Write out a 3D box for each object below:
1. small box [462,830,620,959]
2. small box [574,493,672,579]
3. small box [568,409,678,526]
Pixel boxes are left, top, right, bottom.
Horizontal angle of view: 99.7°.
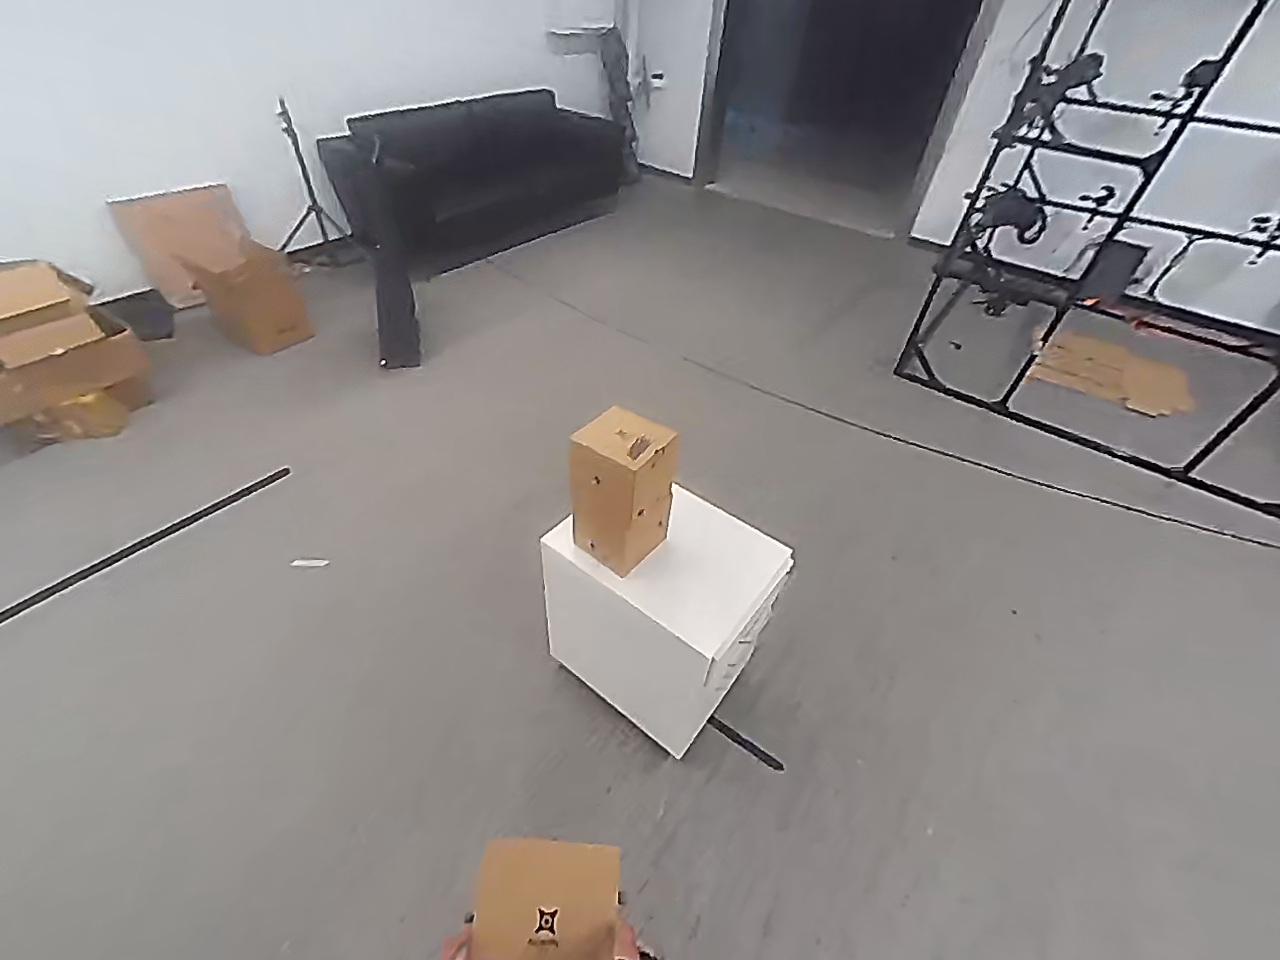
[{"bbox_3d":[-0.123,0.563,0.670,0.168,0.176,0.179,9,45,-3],"label":"small box"},{"bbox_3d":[-0.046,0.101,1.303,0.168,0.176,0.179,31,48,25],"label":"small box"},{"bbox_3d":[-0.039,-0.023,1.195,0.179,0.176,0.168,27,45,24],"label":"small box"}]
